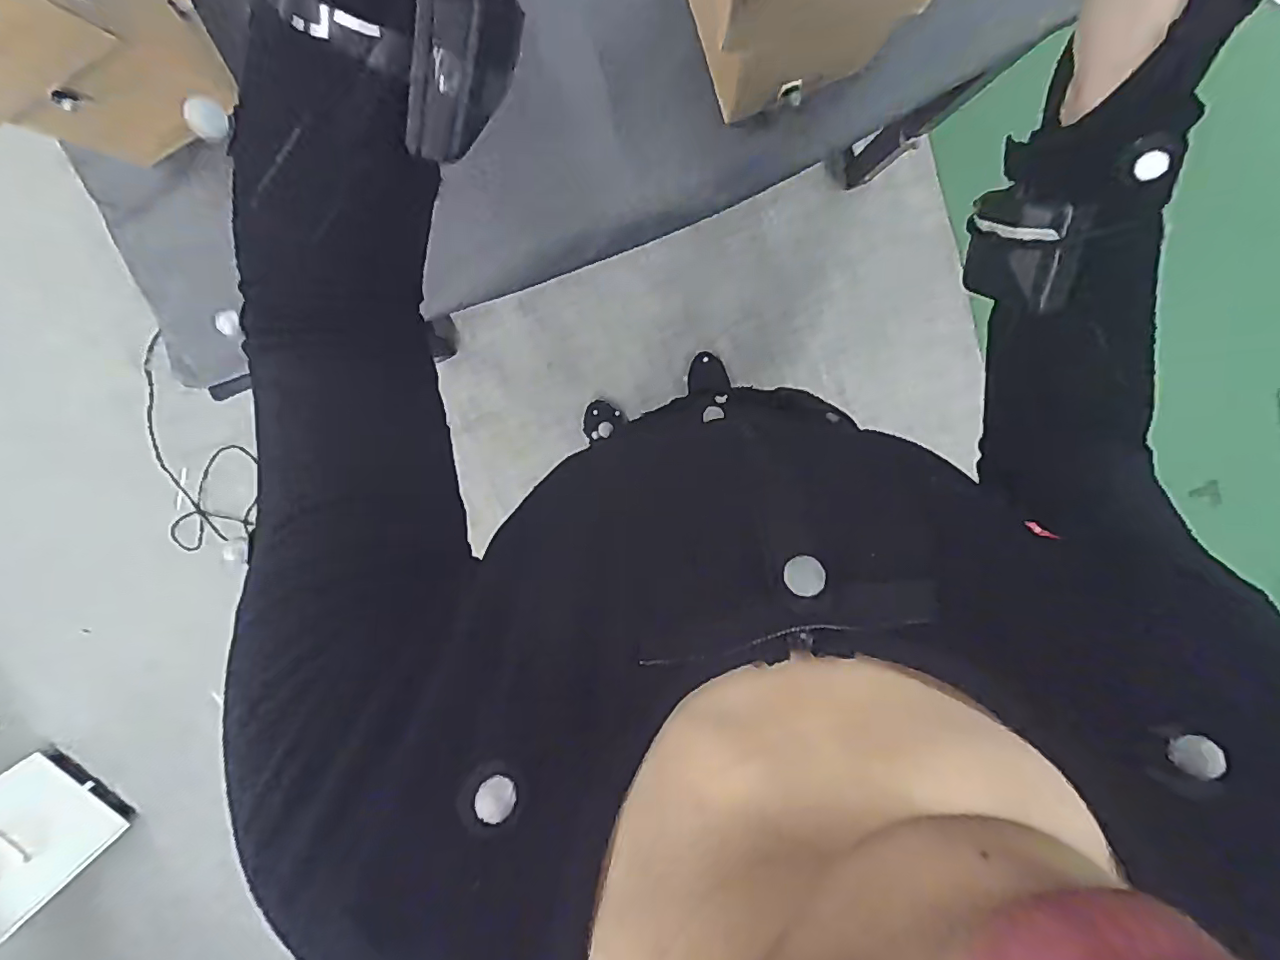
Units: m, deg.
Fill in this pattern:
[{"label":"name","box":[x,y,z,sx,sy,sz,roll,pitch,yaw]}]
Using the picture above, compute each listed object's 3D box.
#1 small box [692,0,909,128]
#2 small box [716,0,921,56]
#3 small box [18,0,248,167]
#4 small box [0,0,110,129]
[{"label":"small box","box":[0.146,-0.494,0.528,0.168,0.176,0.179,-19,102,9]},{"label":"small box","box":[0.140,-0.441,0.374,0.179,0.176,0.168,-8,103,7]},{"label":"small box","box":[-0.587,-0.479,0.580,0.168,0.176,0.179,-24,102,9]},{"label":"small box","box":[-0.588,-0.422,0.425,0.179,0.176,0.168,-23,103,9]}]
